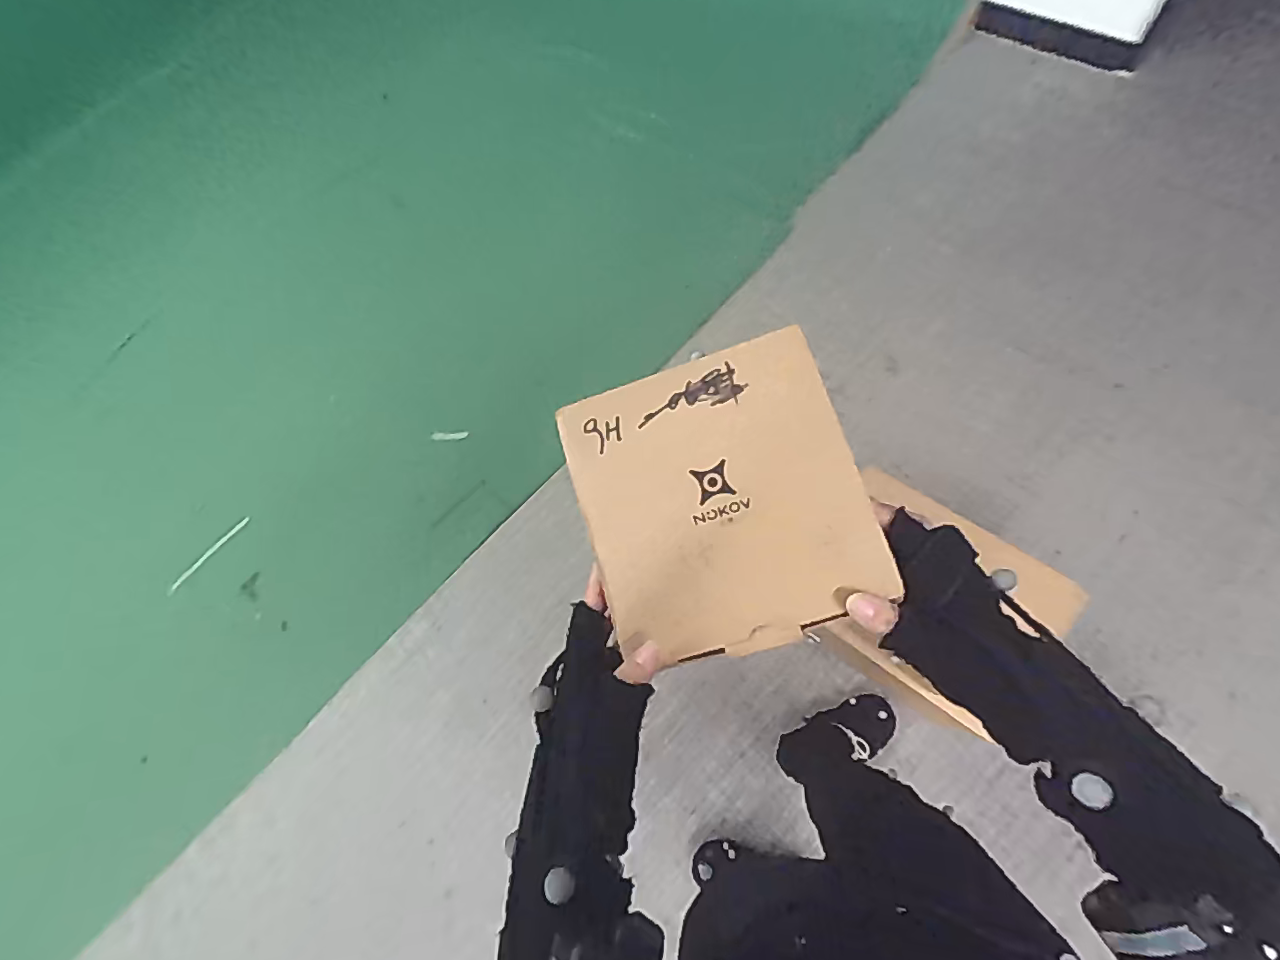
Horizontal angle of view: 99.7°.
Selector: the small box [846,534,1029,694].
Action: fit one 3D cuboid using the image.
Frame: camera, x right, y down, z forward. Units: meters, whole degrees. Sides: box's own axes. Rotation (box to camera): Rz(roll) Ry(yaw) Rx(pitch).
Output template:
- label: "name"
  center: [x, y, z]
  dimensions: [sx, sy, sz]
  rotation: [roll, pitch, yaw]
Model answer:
- label: "small box"
  center: [0.456, 0.215, 0.864]
  dimensions: [0.179, 0.176, 0.168]
  rotation: [39, 85, 21]
